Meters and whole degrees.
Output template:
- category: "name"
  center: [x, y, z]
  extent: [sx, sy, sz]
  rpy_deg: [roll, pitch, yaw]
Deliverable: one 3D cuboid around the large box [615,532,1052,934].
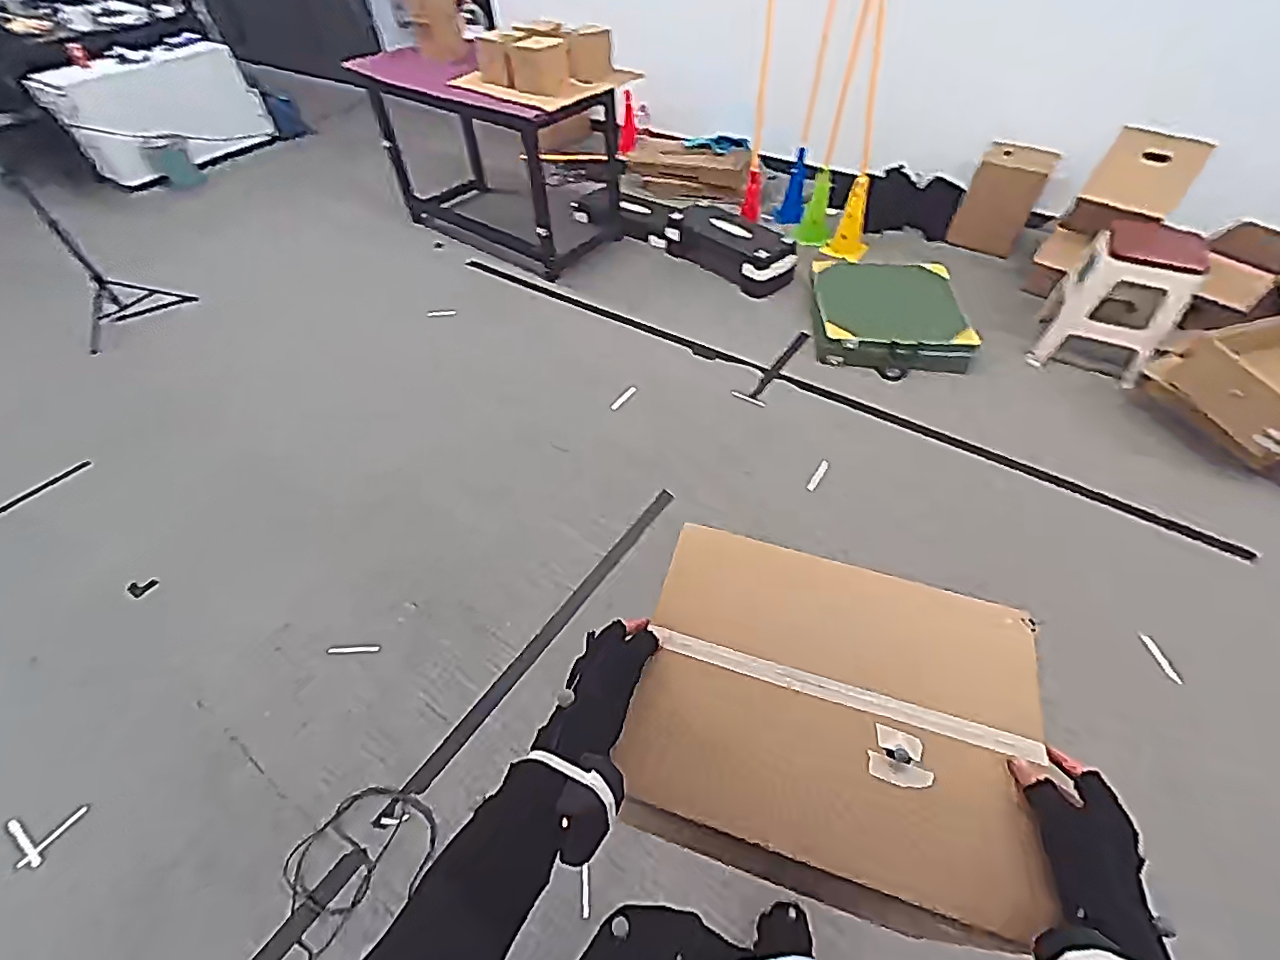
- category: "large box"
  center: [0.204, 0.316, 0.697]
  extent: [0.408, 0.320, 0.320]
  rpy_deg: [14, 55, 11]
